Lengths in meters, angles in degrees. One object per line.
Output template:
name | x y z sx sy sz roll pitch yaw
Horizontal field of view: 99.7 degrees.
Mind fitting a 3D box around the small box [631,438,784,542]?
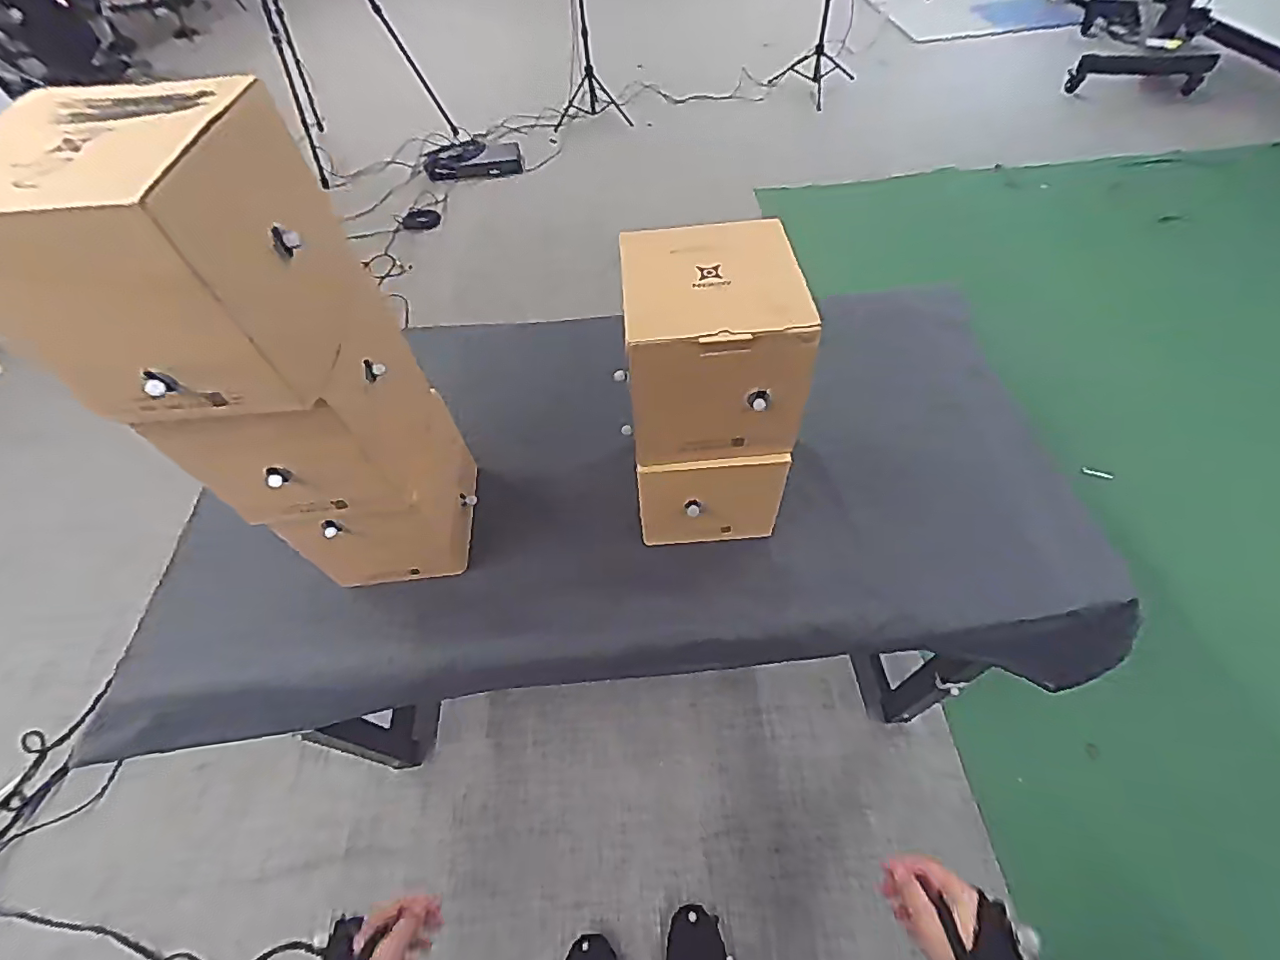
small box | 0.075 -0.031 0.687 0.168 0.176 0.179 -4 54 1

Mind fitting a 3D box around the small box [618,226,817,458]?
small box | 0.067 -0.135 0.562 0.168 0.176 0.179 -4 52 -1

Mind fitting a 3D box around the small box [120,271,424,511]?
small box | -0.334 -0.080 0.540 0.168 0.176 0.179 -5 54 -1

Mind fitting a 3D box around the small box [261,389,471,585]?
small box | -0.320 0.011 0.678 0.168 0.176 0.179 -6 54 -2
